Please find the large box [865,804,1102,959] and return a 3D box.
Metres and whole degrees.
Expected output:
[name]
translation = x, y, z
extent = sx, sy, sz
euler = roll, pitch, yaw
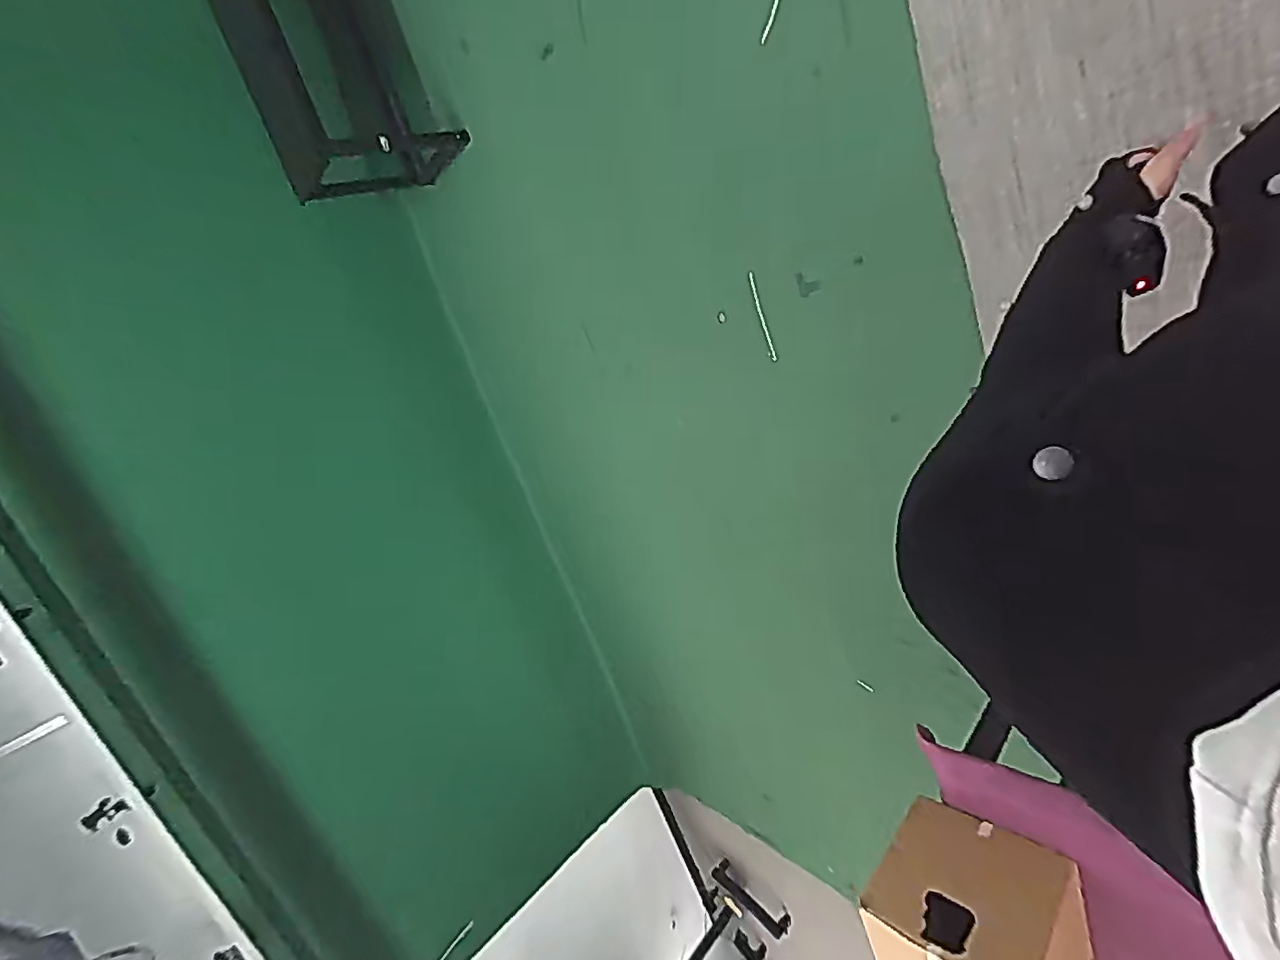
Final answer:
[large box]
translation = 0.732, 1.001, 1.127
extent = 0.320, 0.320, 0.408
euler = -3, 111, 51
